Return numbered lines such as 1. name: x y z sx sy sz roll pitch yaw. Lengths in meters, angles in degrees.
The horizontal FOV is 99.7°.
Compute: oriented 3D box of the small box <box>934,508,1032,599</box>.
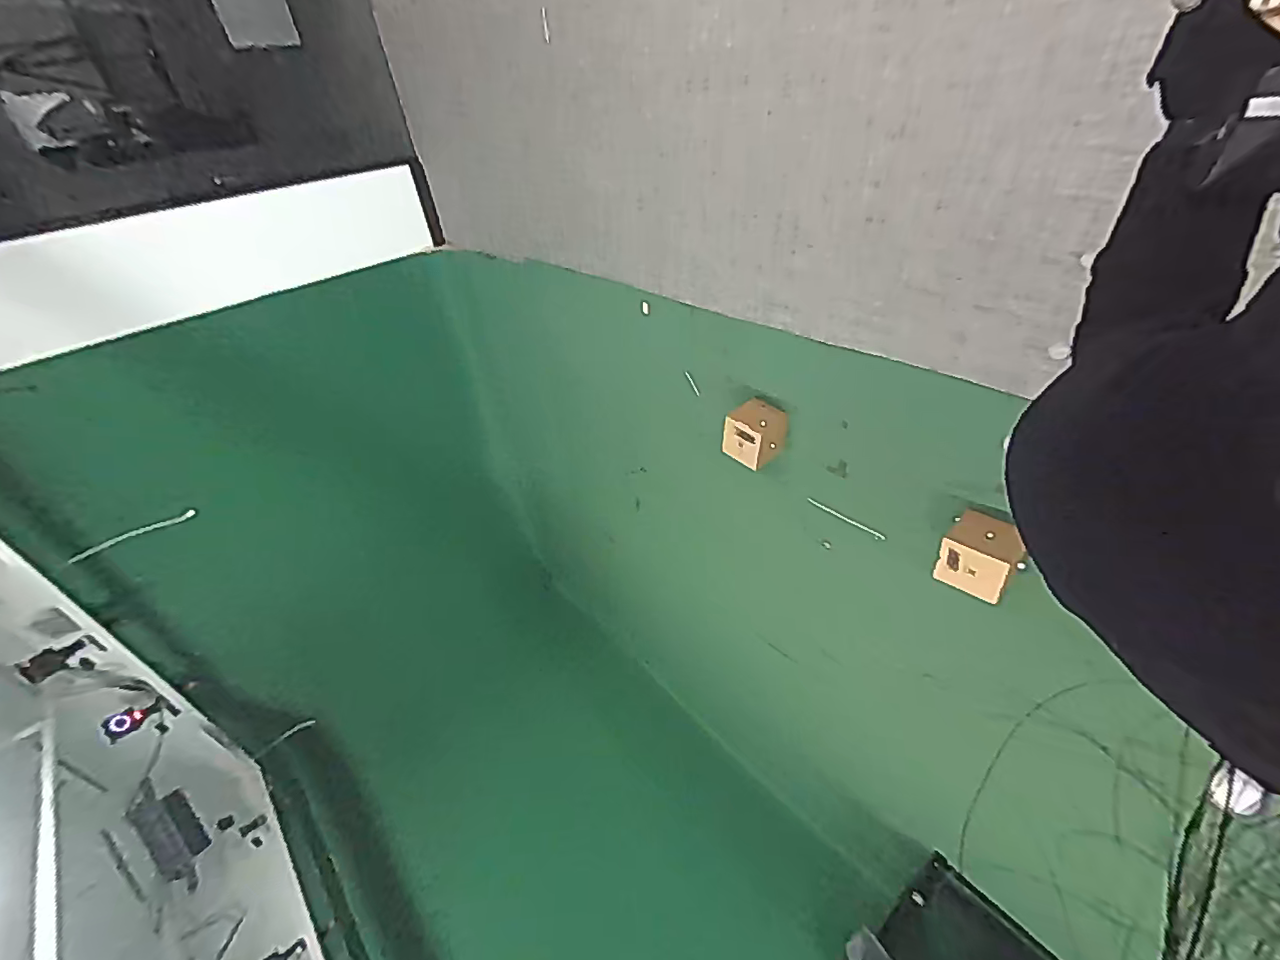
1. small box: 0.999 0.206 1.578 0.179 0.176 0.168 28 139 39
